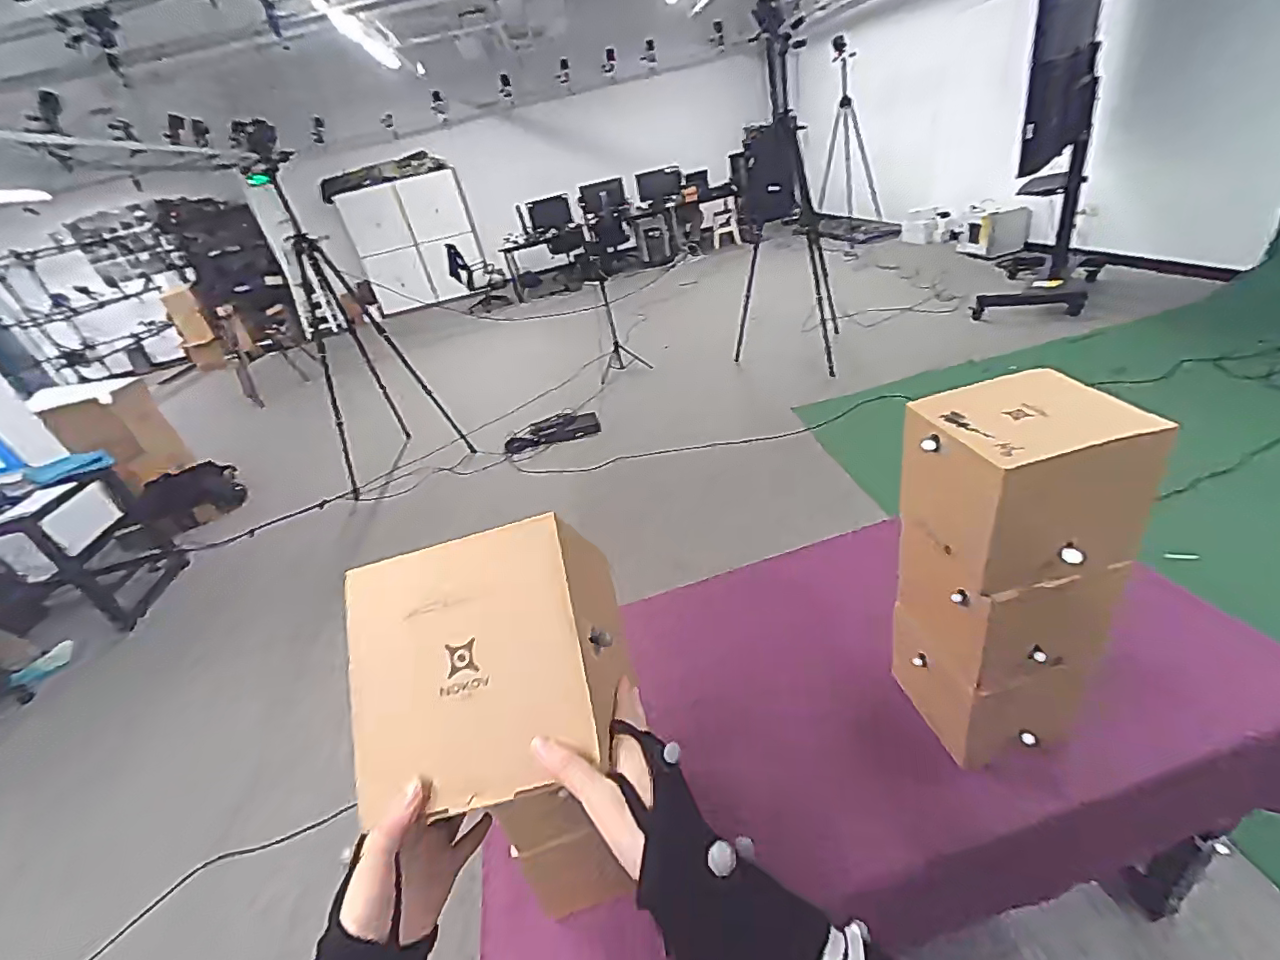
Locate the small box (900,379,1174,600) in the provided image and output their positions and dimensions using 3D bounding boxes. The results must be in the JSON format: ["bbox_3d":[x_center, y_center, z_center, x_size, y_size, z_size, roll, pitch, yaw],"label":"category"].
[{"bbox_3d":[0.421,0.008,0.612,0.179,0.176,0.168,-13,31,-1],"label":"small box"}]

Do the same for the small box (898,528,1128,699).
[{"bbox_3d":[0.455,0.144,0.697,0.168,0.176,0.179,-15,31,-3],"label":"small box"}]

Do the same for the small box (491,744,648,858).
[{"bbox_3d":[-0.096,0.305,0.650,0.179,0.176,0.168,-18,31,-7],"label":"small box"}]

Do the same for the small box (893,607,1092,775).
[{"bbox_3d":[0.486,0.281,0.780,0.168,0.176,0.179,-16,31,-2],"label":"small box"}]

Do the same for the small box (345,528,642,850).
[{"bbox_3d":[-0.103,0.154,0.433,0.168,0.176,0.179,-15,71,4],"label":"small box"}]
